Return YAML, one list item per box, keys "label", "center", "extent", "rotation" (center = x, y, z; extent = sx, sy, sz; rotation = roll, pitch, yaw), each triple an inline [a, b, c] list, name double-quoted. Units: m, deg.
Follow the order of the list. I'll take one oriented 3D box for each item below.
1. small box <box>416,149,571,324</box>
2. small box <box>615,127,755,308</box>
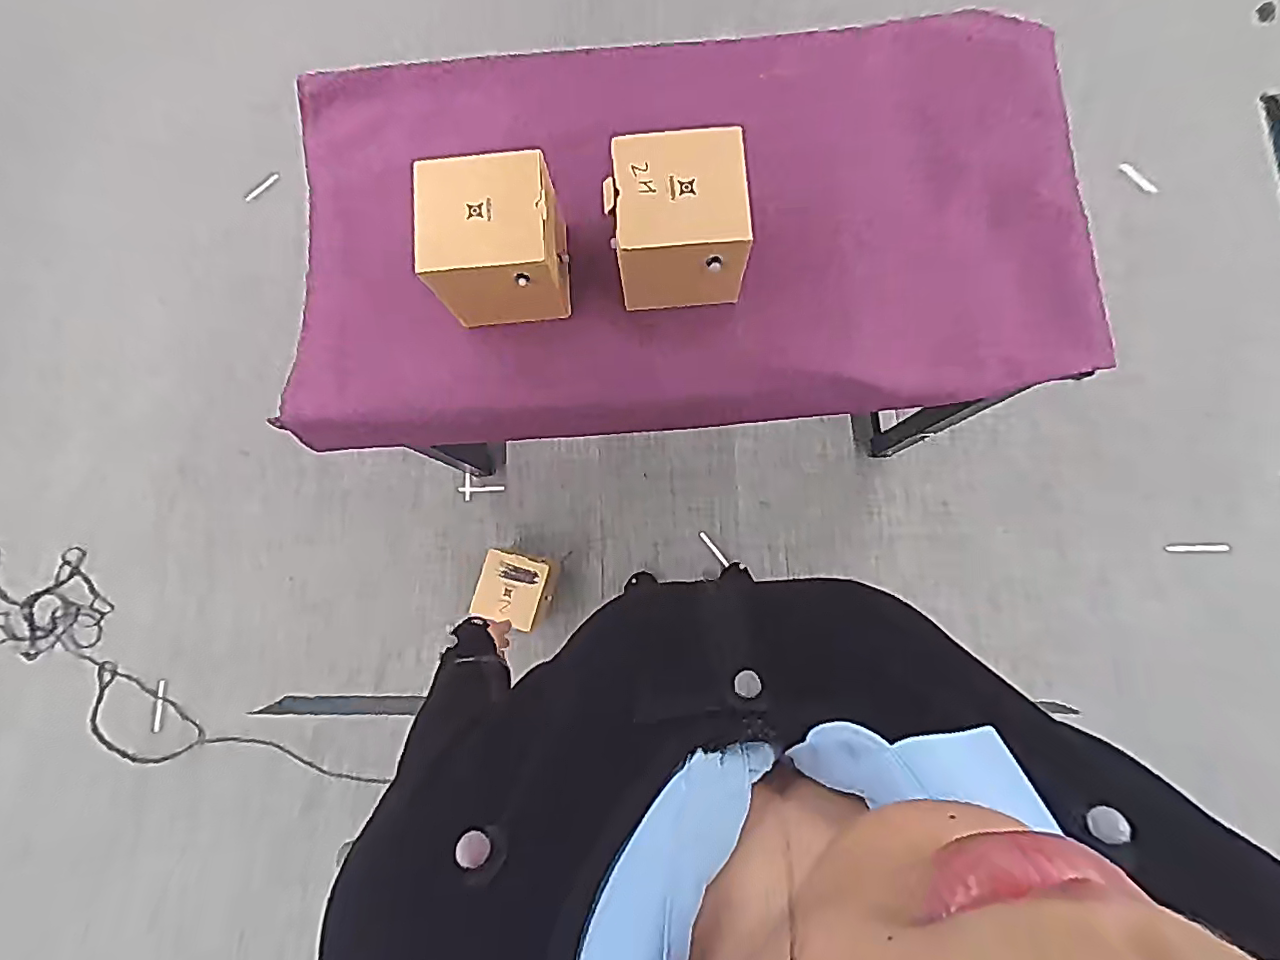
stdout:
- label: "small box"
  center: [-0.205, -0.342, 0.791]
  extent: [0.179, 0.176, 0.168]
  rotation: [-5, 81, 2]
- label: "small box"
  center: [0.060, -0.365, 0.778]
  extent: [0.179, 0.176, 0.168]
  rotation: [-4, 80, 3]
